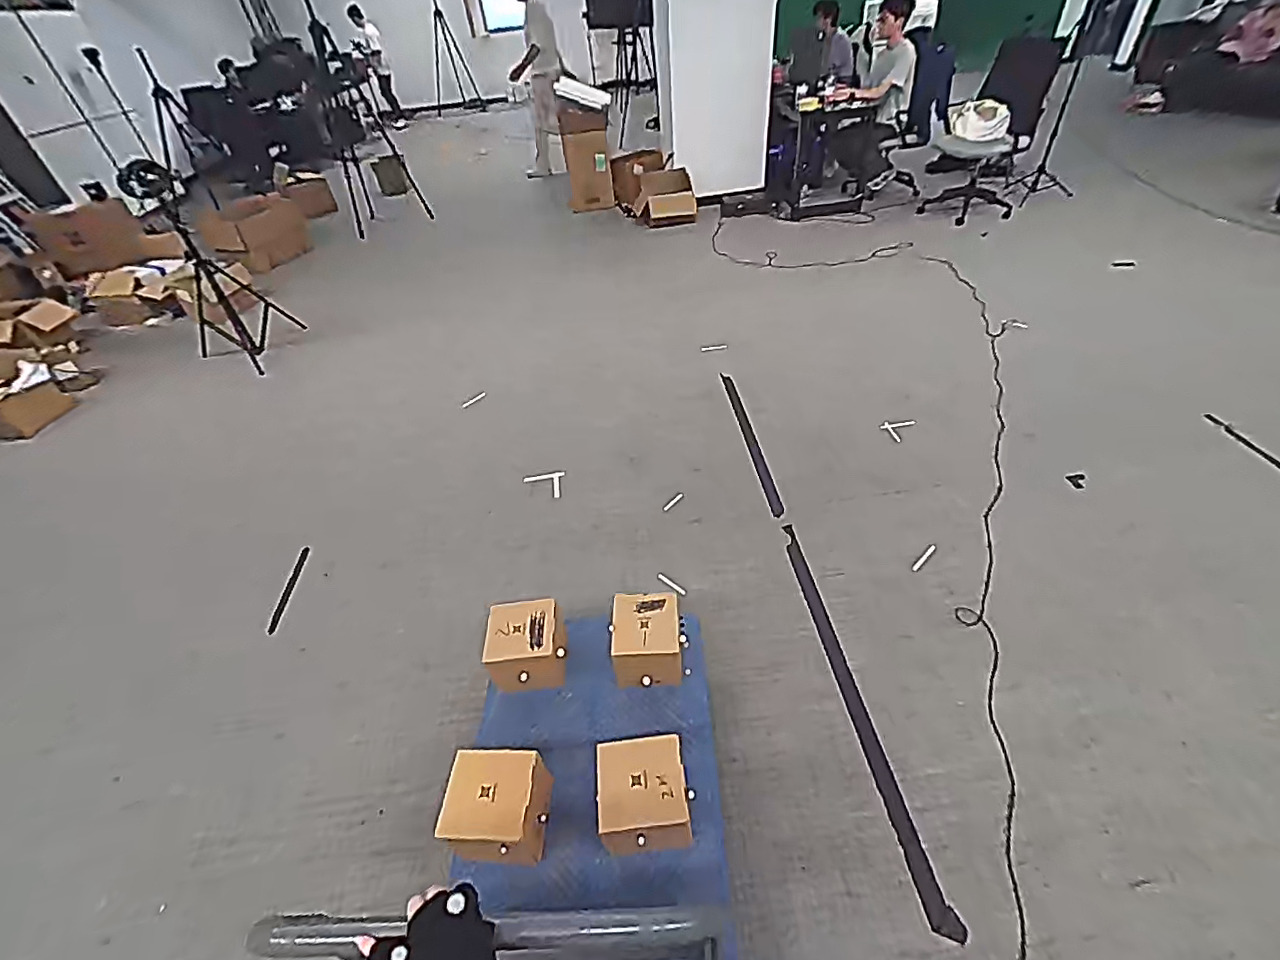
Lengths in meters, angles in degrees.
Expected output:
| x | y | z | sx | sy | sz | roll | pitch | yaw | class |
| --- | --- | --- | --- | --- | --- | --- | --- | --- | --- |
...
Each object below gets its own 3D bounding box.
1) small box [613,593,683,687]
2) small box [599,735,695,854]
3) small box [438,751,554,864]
| x | y | z | sx | sy | sz | roll | pitch | yaw | class |
| --- | --- | --- | --- | --- | --- | --- | --- | --- | --- |
| 0.024 | 0.414 | 1.399 | 0.168 | 0.176 | 0.179 | -4 | 43 | 4 | small box |
| 0.014 | 0.659 | 1.130 | 0.179 | 0.176 | 0.168 | -8 | 42 | 0 | small box |
| -0.293 | 0.691 | 1.141 | 0.179 | 0.176 | 0.168 | -2 | 42 | 4 | small box |
